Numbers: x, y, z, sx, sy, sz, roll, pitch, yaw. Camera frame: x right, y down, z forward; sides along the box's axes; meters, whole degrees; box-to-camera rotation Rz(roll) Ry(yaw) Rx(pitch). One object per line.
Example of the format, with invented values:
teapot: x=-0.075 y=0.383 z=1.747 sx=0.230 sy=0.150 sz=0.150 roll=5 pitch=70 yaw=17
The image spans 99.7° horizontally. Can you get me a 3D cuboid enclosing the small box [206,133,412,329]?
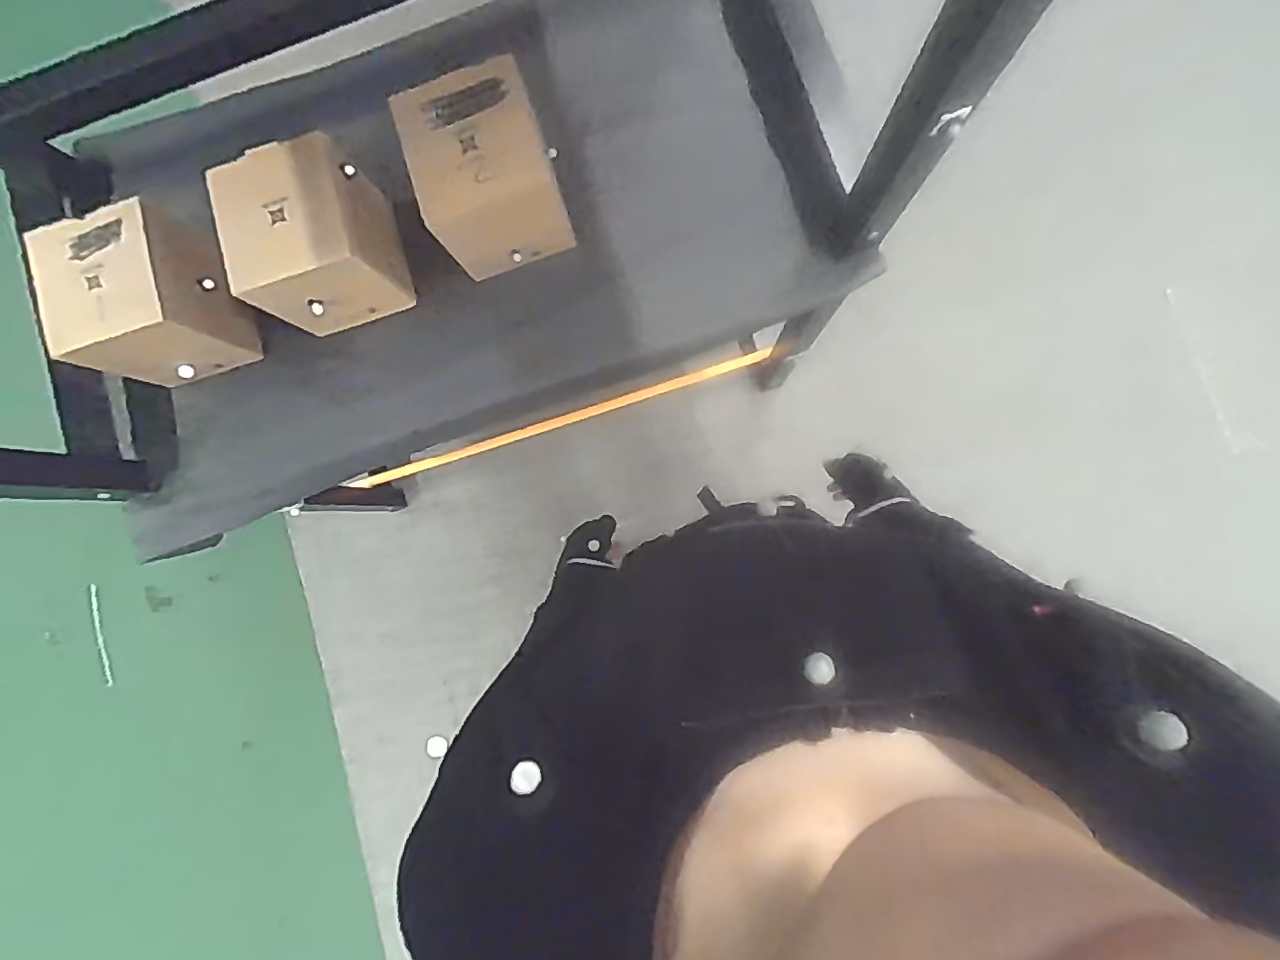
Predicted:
small box: x=-0.449 y=-0.330 z=0.760 sx=0.168 sy=0.176 sz=0.179 roll=-17 pitch=84 yaw=3

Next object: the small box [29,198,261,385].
small box: x=-0.691 y=-0.256 z=0.773 sx=0.168 sy=0.176 sz=0.179 roll=-16 pitch=85 yaw=4
